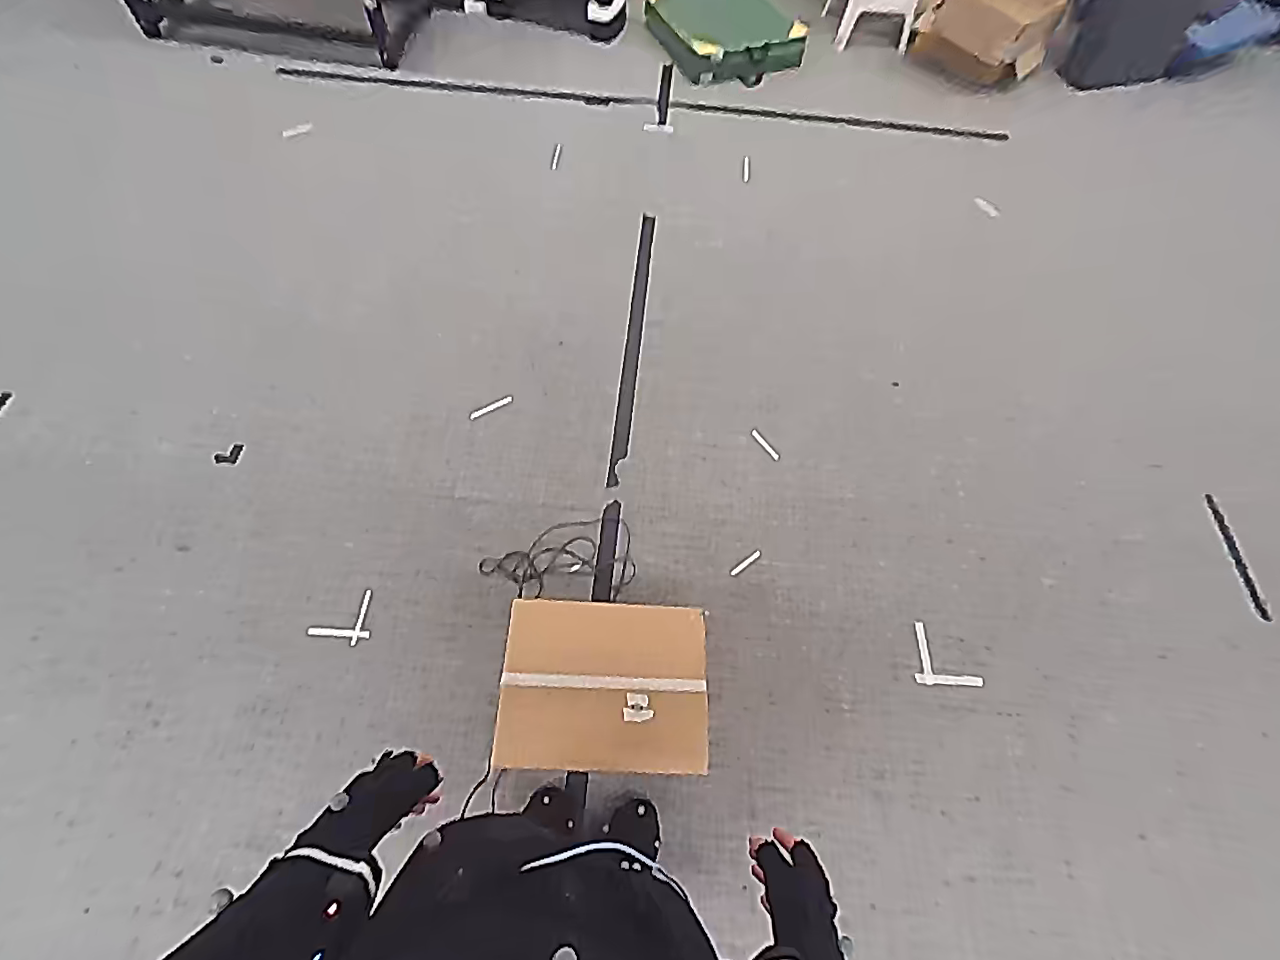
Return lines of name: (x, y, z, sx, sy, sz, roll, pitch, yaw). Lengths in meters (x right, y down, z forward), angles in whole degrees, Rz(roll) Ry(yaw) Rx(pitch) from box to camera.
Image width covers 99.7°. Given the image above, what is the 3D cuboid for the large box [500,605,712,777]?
large box: (-0.071, 0.479, 1.204, 0.408, 0.320, 0.320, 4, 63, -3)
